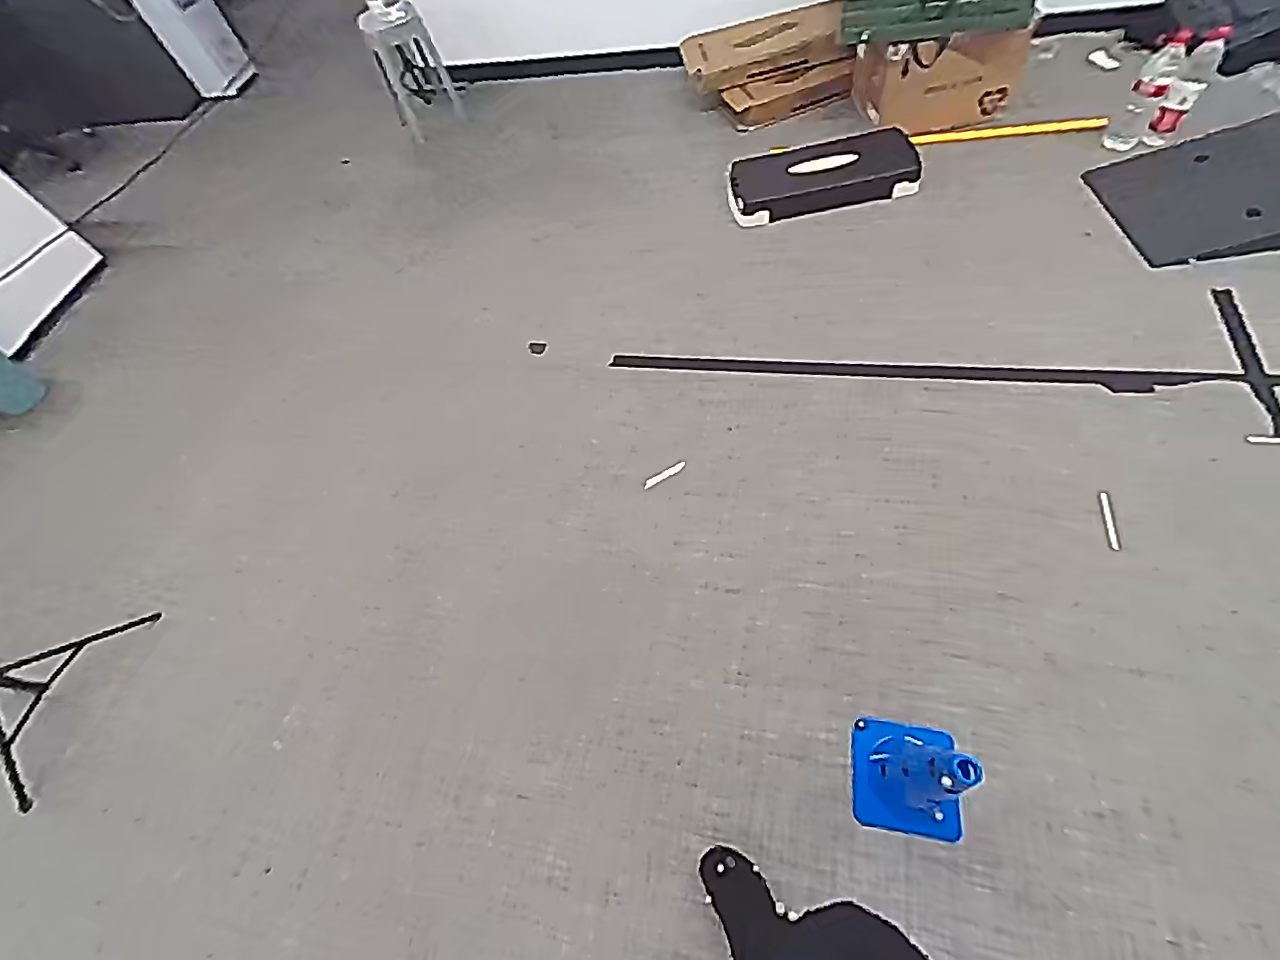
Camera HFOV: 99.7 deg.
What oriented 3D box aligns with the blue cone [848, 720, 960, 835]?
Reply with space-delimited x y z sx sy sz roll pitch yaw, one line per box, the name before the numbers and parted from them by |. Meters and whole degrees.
blue cone | 0.495 0.515 0.954 0.192 0.380 0.193 5 61 14
